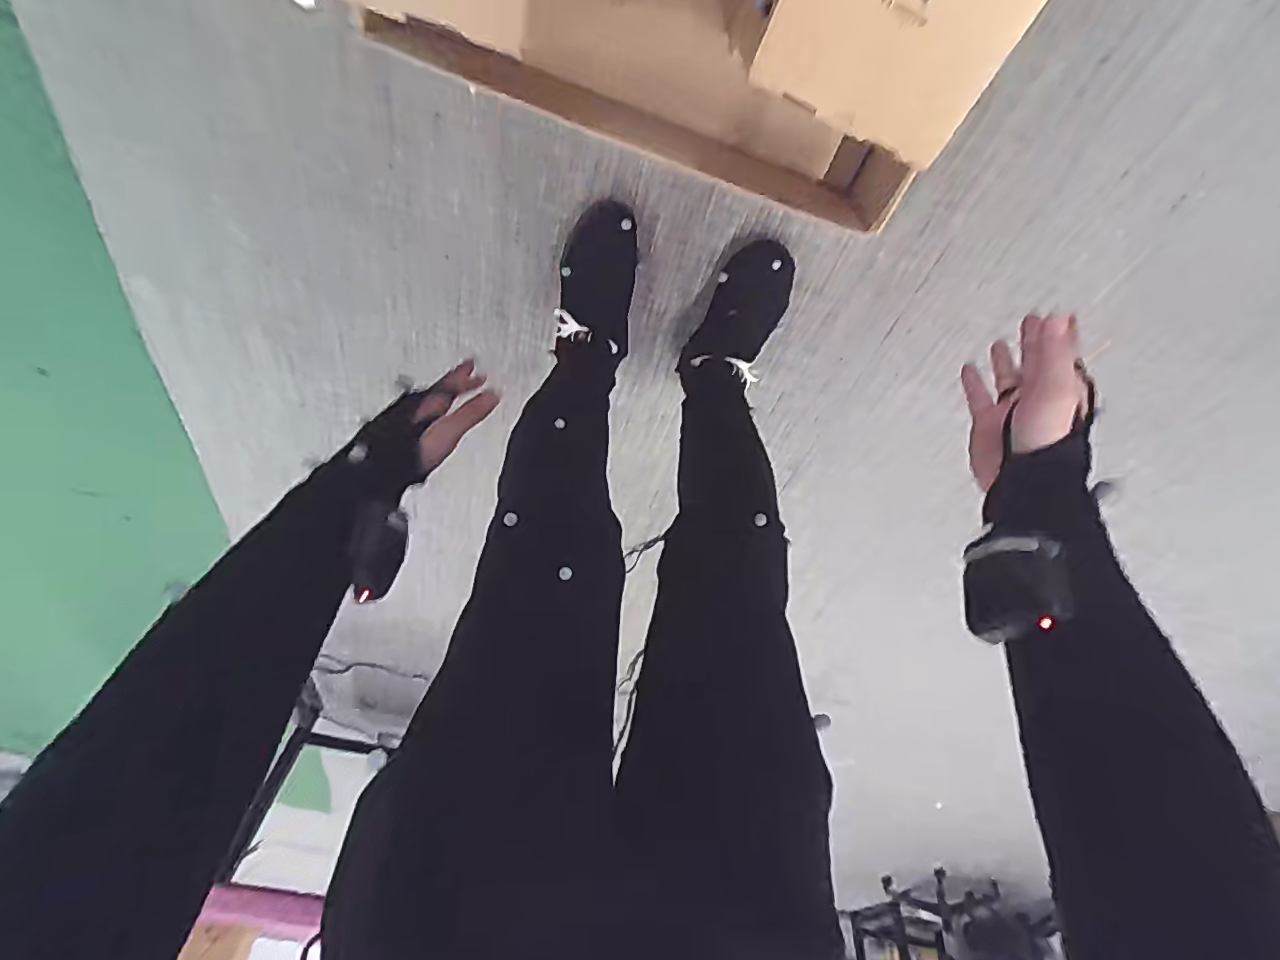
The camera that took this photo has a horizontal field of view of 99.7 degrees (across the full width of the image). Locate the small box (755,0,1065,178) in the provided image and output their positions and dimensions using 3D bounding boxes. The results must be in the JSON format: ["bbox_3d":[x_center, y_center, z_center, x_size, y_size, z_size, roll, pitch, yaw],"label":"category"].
[{"bbox_3d":[0.200,-0.379,0.418,0.168,0.176,0.179,19,134,-11],"label":"small box"}]

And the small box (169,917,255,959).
[{"bbox_3d":[-1.325,1.470,1.661,0.168,0.176,0.179,15,133,-8],"label":"small box"}]
